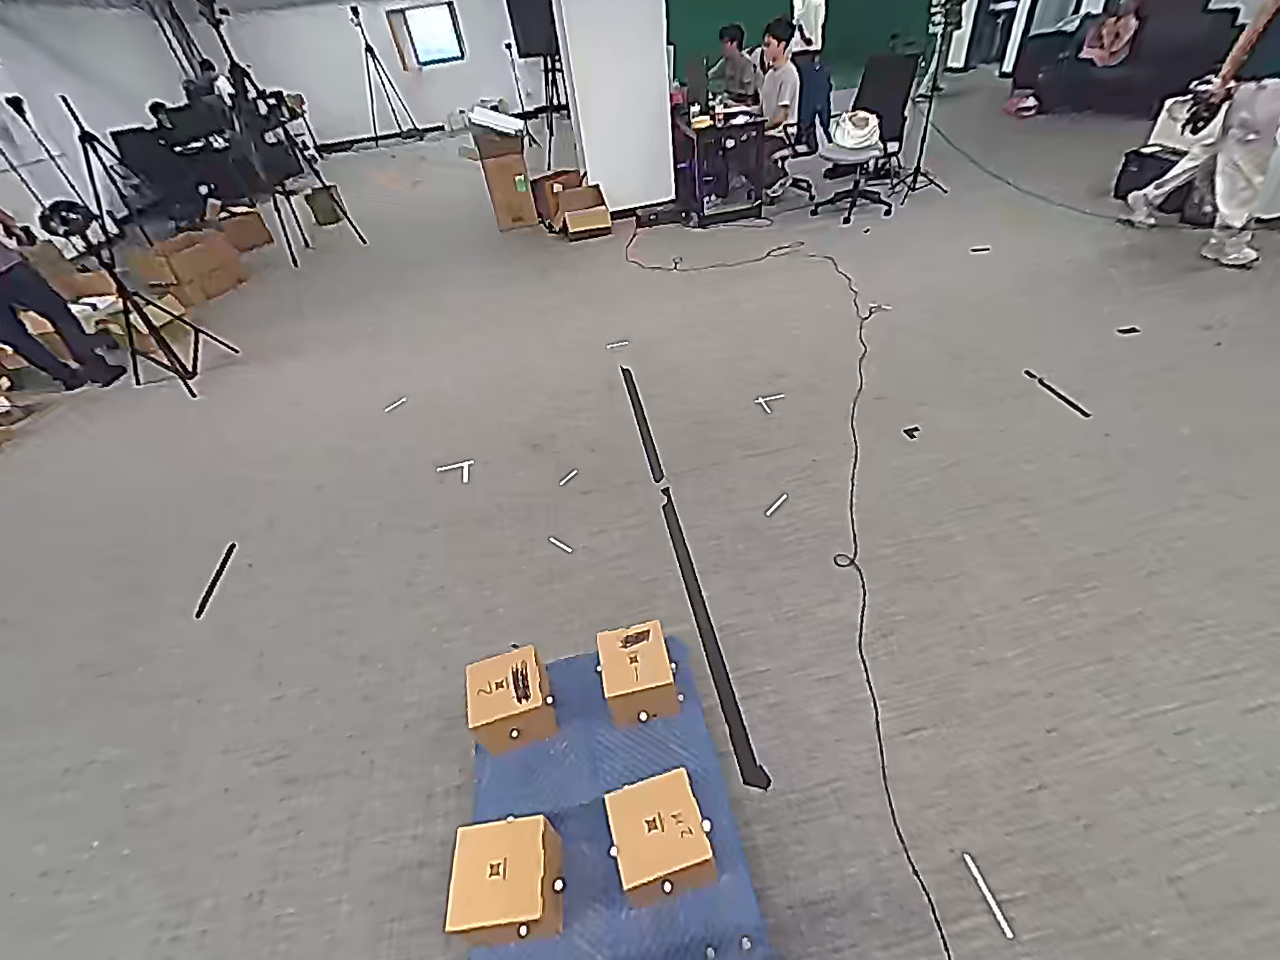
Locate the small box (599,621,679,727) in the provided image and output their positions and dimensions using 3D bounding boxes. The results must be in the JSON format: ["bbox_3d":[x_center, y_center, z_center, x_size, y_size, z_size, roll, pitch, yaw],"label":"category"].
[{"bbox_3d":[-0.002,0.489,1.362,0.168,0.176,0.179,-12,43,-3],"label":"small box"}]

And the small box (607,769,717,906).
[{"bbox_3d":[0.047,0.724,1.092,0.179,0.176,0.168,-16,42,-7],"label":"small box"}]

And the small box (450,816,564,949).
[{"bbox_3d":[-0.252,0.796,1.067,0.179,0.176,0.168,-8,41,-2],"label":"small box"}]
